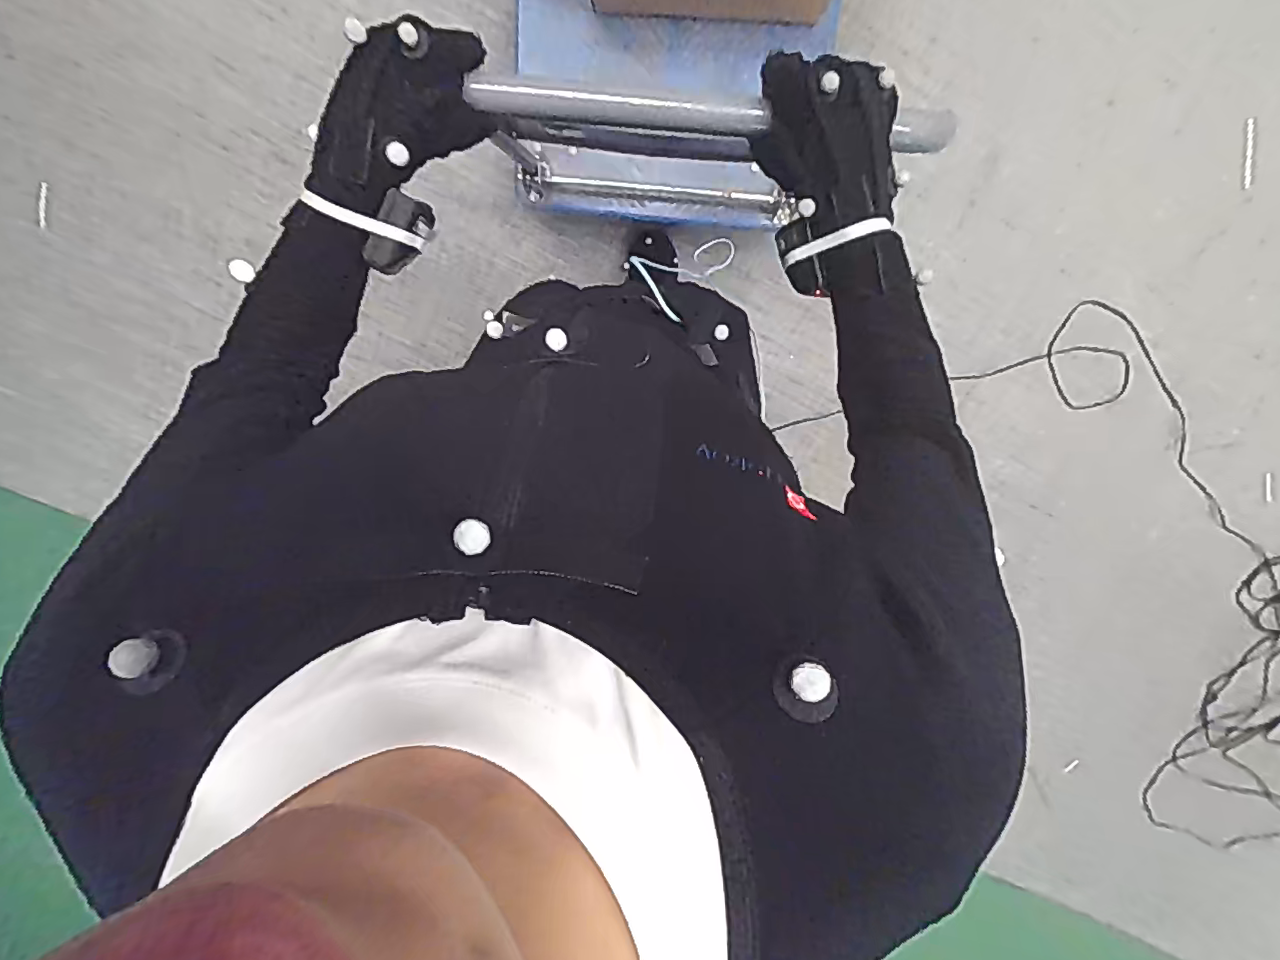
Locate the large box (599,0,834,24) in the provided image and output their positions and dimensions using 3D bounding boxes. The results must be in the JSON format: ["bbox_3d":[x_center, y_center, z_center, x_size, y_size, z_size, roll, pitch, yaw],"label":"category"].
[{"bbox_3d":[0.127,-0.923,0.794,0.408,0.320,0.320,3,108,2],"label":"large box"}]
